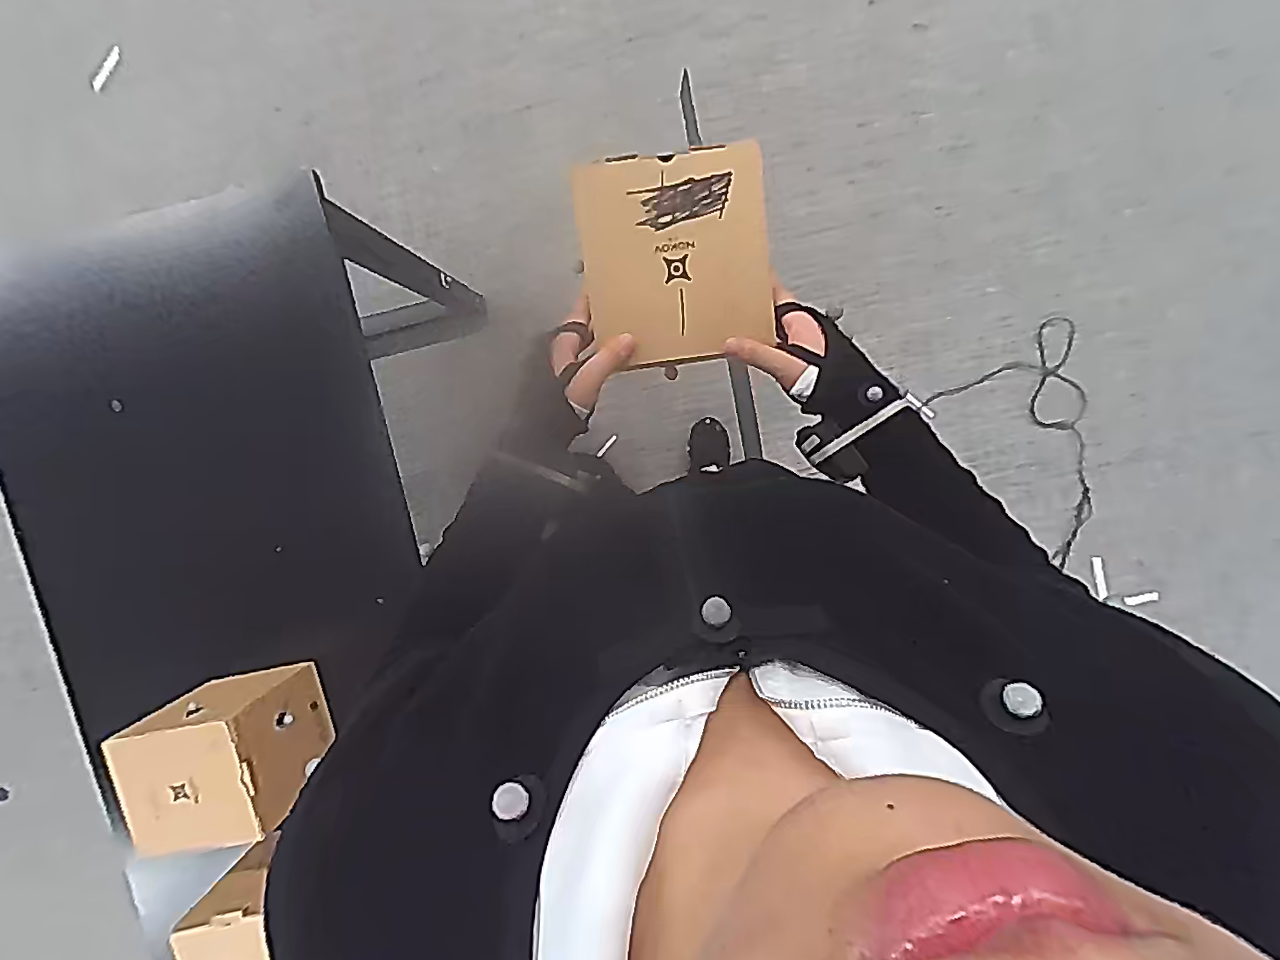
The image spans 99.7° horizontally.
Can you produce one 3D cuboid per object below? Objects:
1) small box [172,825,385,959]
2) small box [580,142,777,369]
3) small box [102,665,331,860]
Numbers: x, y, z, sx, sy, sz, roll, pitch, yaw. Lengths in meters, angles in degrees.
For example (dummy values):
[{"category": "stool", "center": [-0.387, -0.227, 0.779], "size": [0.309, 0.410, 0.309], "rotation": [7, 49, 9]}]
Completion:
[{"category": "small box", "center": [-0.503, 0.633, 0.778], "size": [0.168, 0.176, 0.179], "rotation": [-14, 95, 4]}, {"category": "small box", "center": [0.032, -0.211, 0.554], "size": [0.168, 0.176, 0.179], "rotation": [-7, 101, -1]}, {"category": "small box", "center": [-0.566, 0.379, 0.754], "size": [0.179, 0.176, 0.168], "rotation": [-12, 95, 5]}]
